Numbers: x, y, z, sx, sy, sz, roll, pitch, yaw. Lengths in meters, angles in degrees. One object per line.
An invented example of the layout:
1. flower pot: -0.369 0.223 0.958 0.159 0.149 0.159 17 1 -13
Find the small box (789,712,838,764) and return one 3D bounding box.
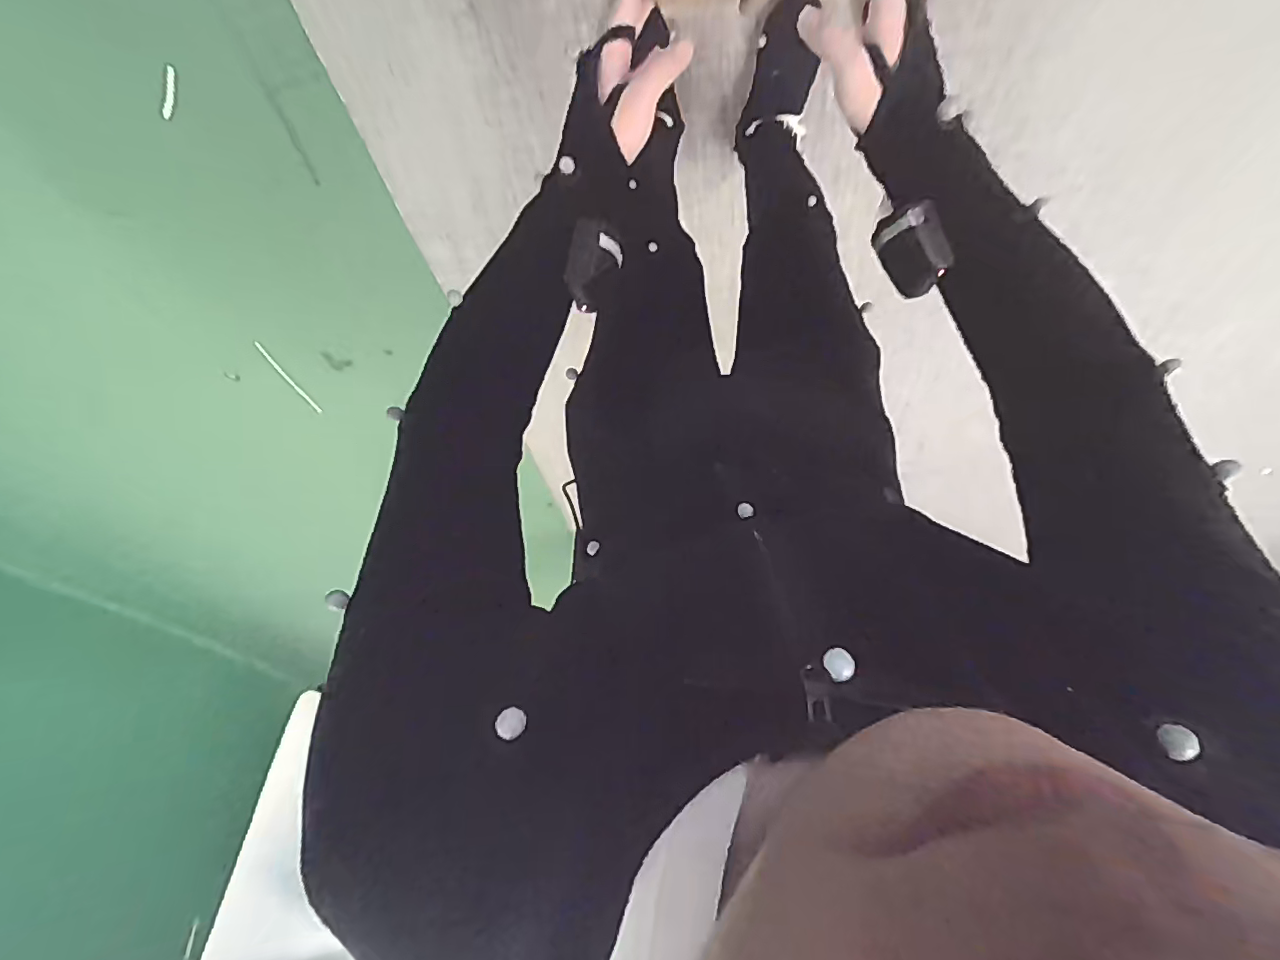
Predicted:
1. small box: 0.710 1.064 2.229 0.168 0.176 0.179 -4 145 9

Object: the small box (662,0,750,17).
1. small box: 0.082 -0.506 0.432 0.168 0.176 0.179 -4 126 11
